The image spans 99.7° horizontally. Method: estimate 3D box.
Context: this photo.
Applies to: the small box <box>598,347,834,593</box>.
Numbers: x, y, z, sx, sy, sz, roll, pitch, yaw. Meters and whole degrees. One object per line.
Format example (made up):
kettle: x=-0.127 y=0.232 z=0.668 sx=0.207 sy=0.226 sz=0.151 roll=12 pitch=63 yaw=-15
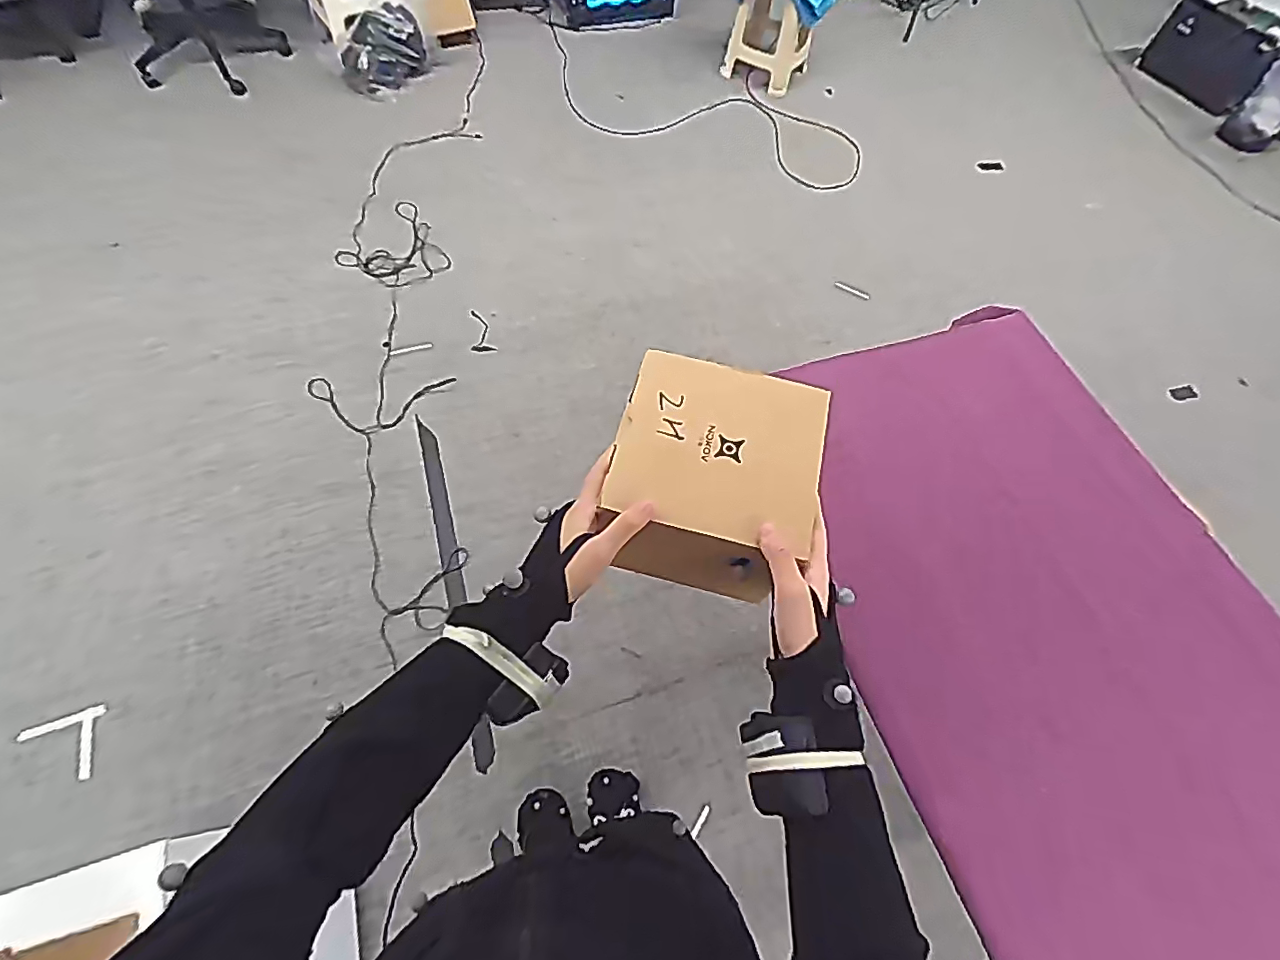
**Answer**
small box: x=0.067 y=0.002 z=0.530 sx=0.179 sy=0.176 sz=0.168 roll=14 pitch=66 yaw=4
